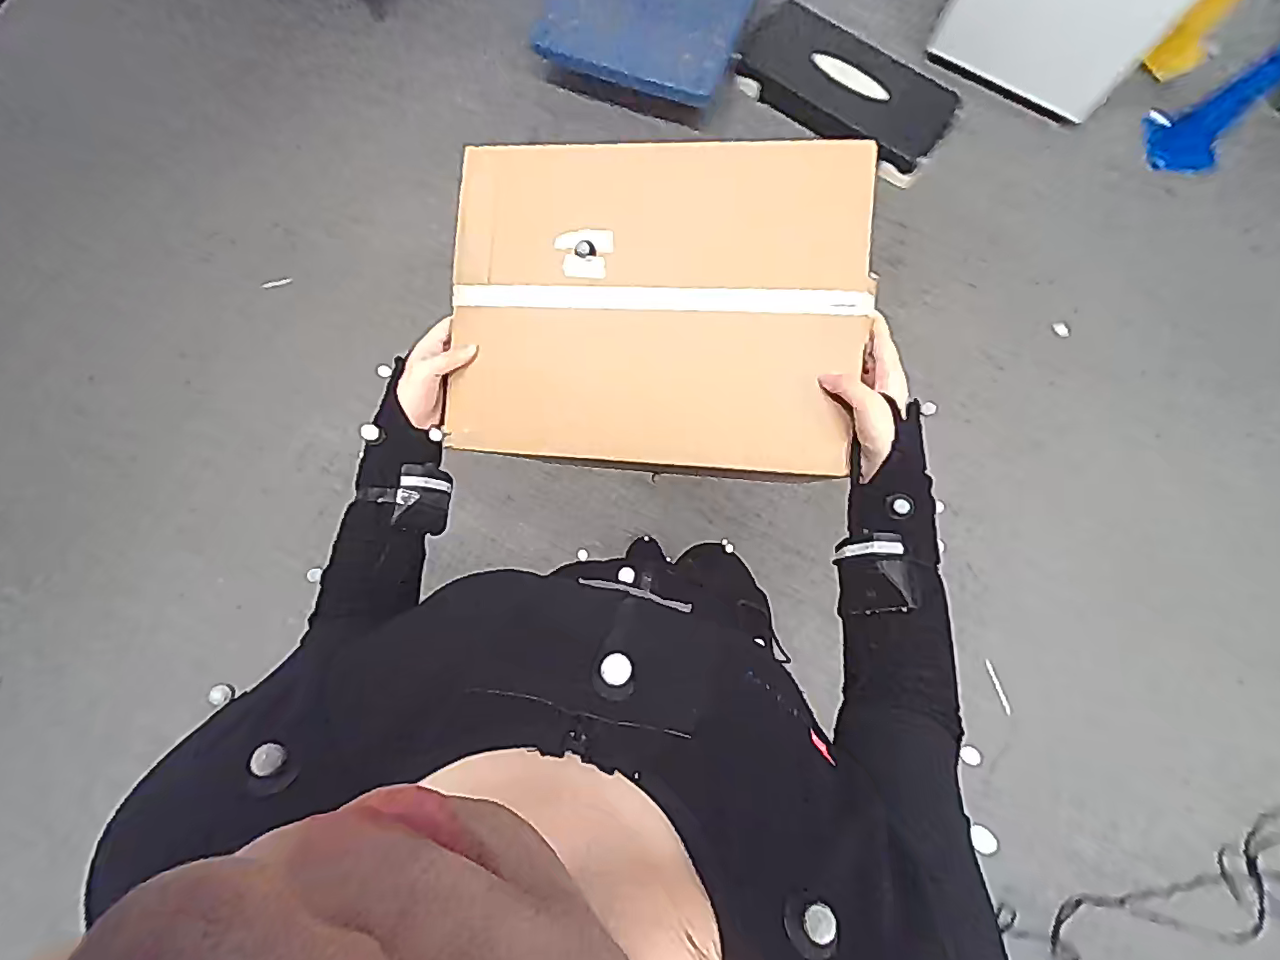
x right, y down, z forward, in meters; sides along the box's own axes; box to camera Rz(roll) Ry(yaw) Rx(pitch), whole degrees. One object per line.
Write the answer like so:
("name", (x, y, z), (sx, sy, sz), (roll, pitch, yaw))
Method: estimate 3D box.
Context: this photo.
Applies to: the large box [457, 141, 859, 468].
("large box", (0.033, -0.175, 0.688), (0.408, 0.320, 0.320), (3, 90, 10))
